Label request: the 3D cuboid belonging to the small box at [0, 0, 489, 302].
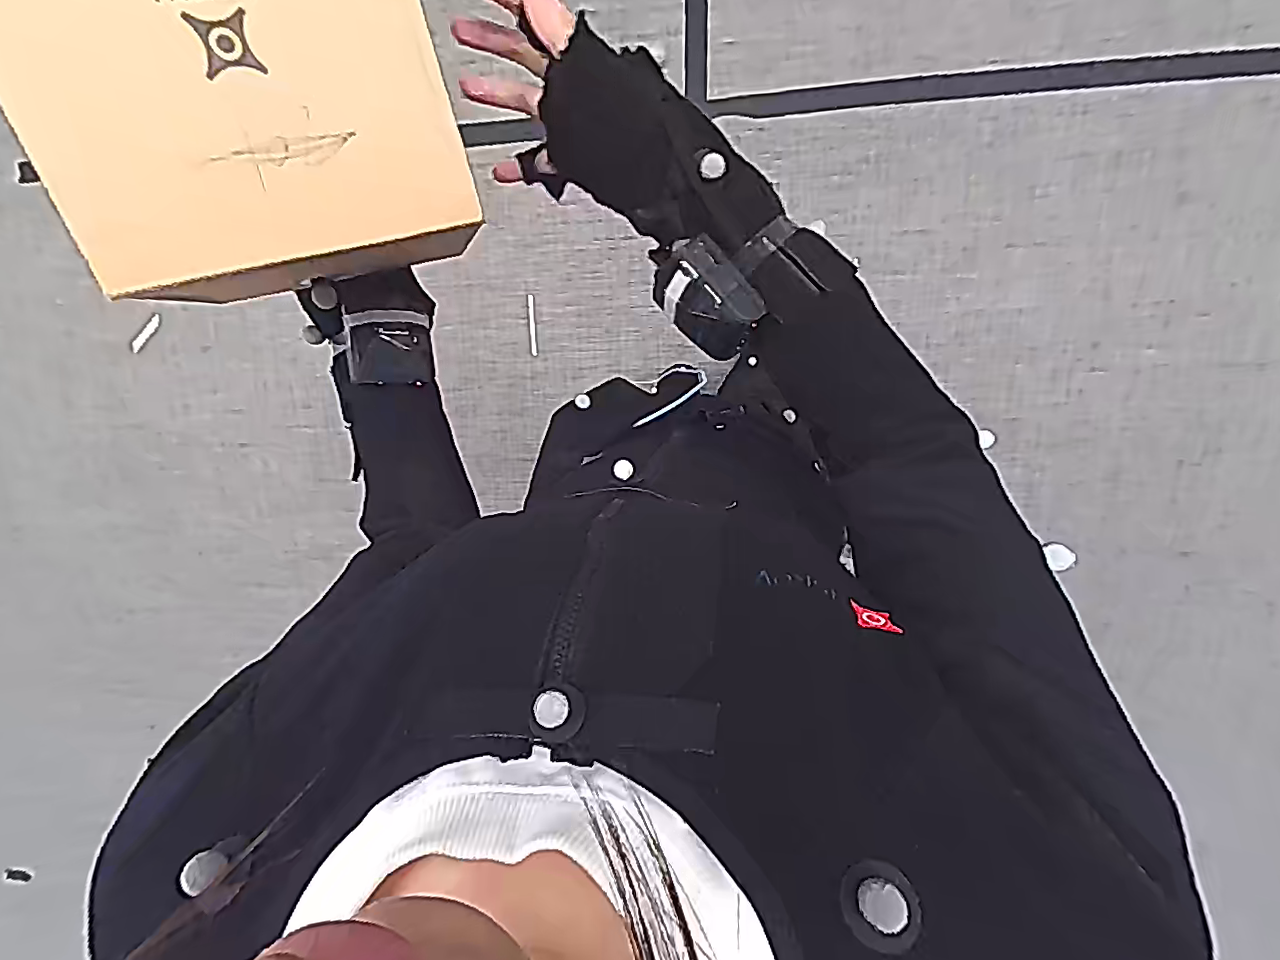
[{"bbox_3d":[-0.200,-0.208,0.307,0.168,0.176,0.179,-19,112,-15],"label":"small box"}]
